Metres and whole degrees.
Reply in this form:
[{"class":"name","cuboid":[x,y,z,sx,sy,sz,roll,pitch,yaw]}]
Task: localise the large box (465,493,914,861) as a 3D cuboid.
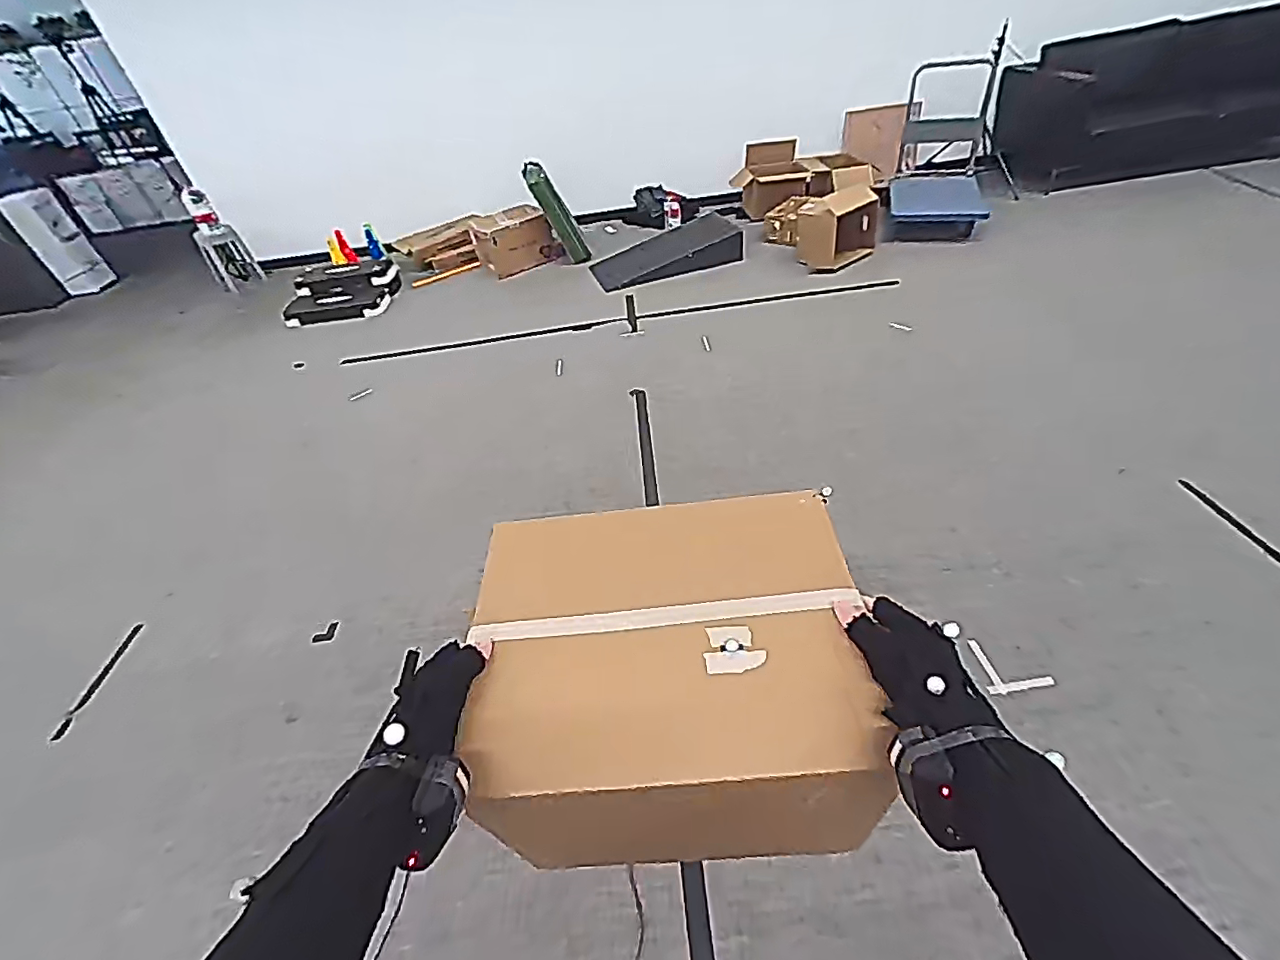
[{"class":"large box","cuboid":[0.048,0.249,0.677,0.408,0.320,0.320,-6,45,3]}]
